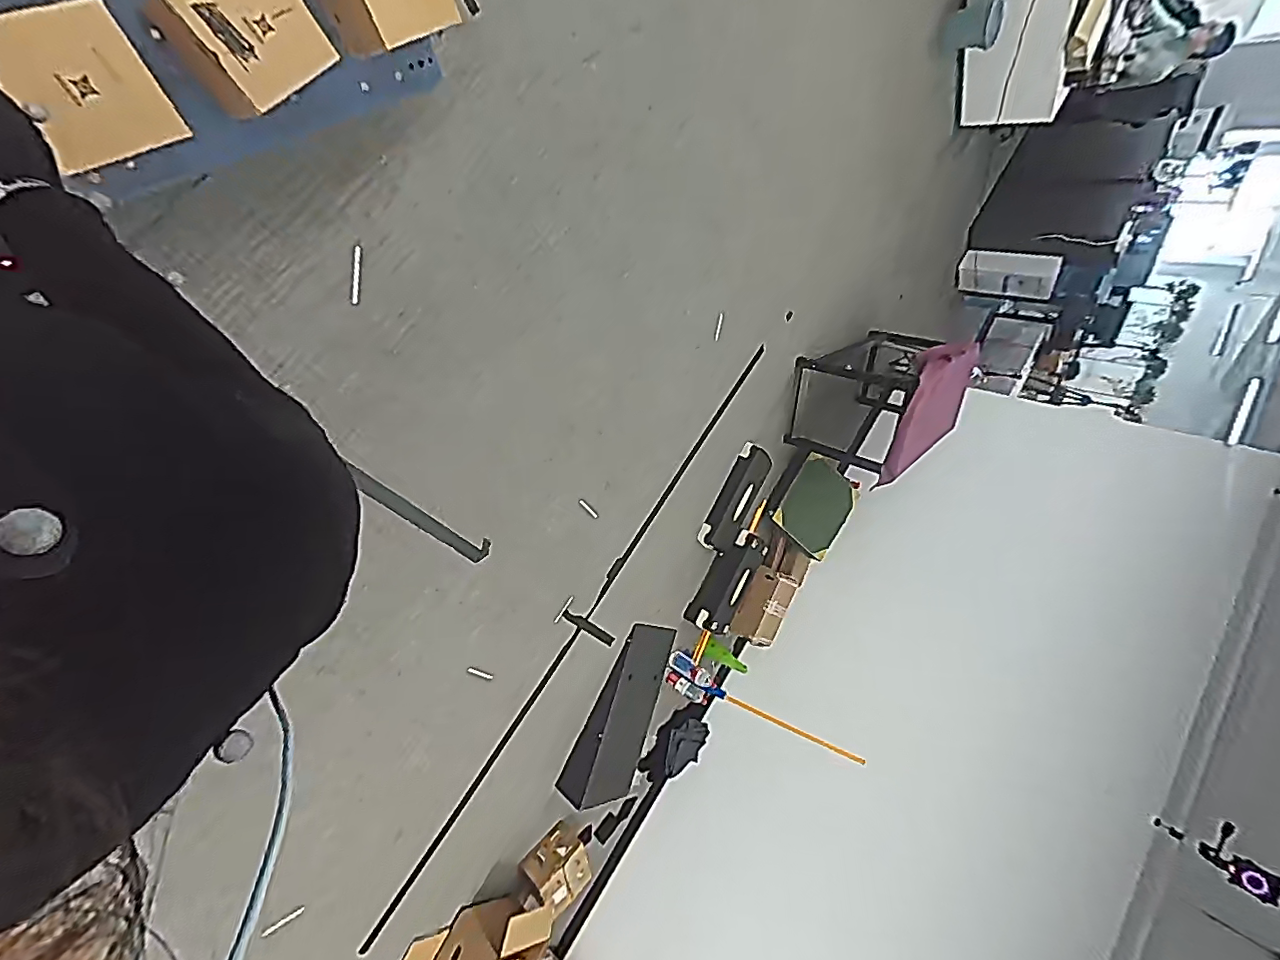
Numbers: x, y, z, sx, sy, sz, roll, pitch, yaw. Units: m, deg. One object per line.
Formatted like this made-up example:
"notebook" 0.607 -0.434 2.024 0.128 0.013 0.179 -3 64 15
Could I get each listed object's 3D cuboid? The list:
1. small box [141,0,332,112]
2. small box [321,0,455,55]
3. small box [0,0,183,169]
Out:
"small box" -0.657 -0.730 0.880 0.179 0.176 0.168 -53 142 -18
"small box" -0.485 -0.911 0.991 0.179 0.176 0.168 -46 140 -25
"small box" -0.820 -0.561 0.774 0.179 0.176 0.168 -44 140 -28
